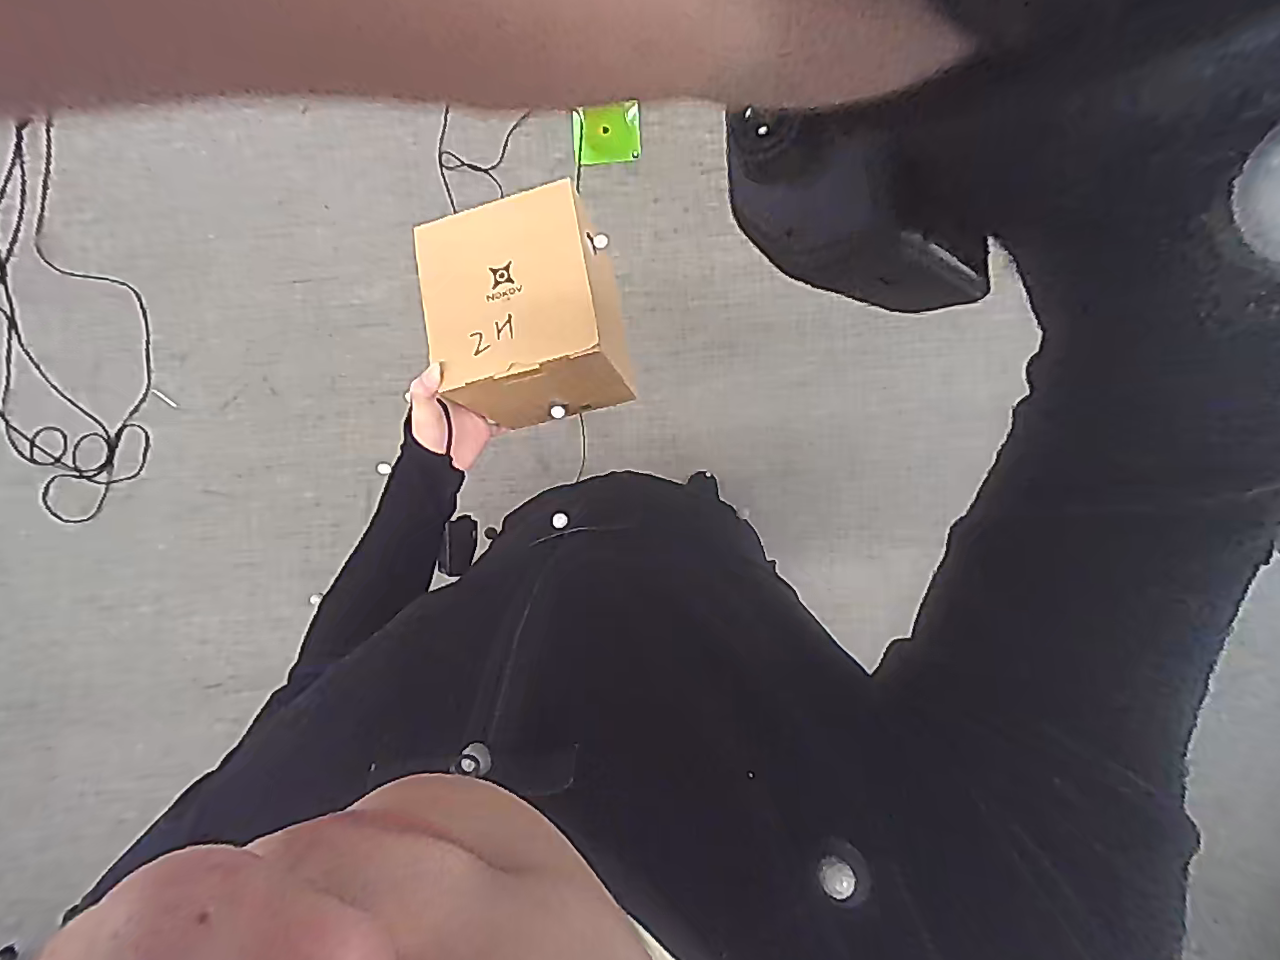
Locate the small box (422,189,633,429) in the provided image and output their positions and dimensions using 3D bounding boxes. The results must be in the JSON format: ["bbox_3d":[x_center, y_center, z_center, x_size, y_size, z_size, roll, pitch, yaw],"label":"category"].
[{"bbox_3d":[-0.112,-0.171,0.594,0.168,0.176,0.179,-12,81,9],"label":"small box"}]

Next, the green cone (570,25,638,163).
[{"bbox_3d":[-0.118,-1.064,1.458,0.202,0.368,0.200,-4,90,3],"label":"green cone"}]
